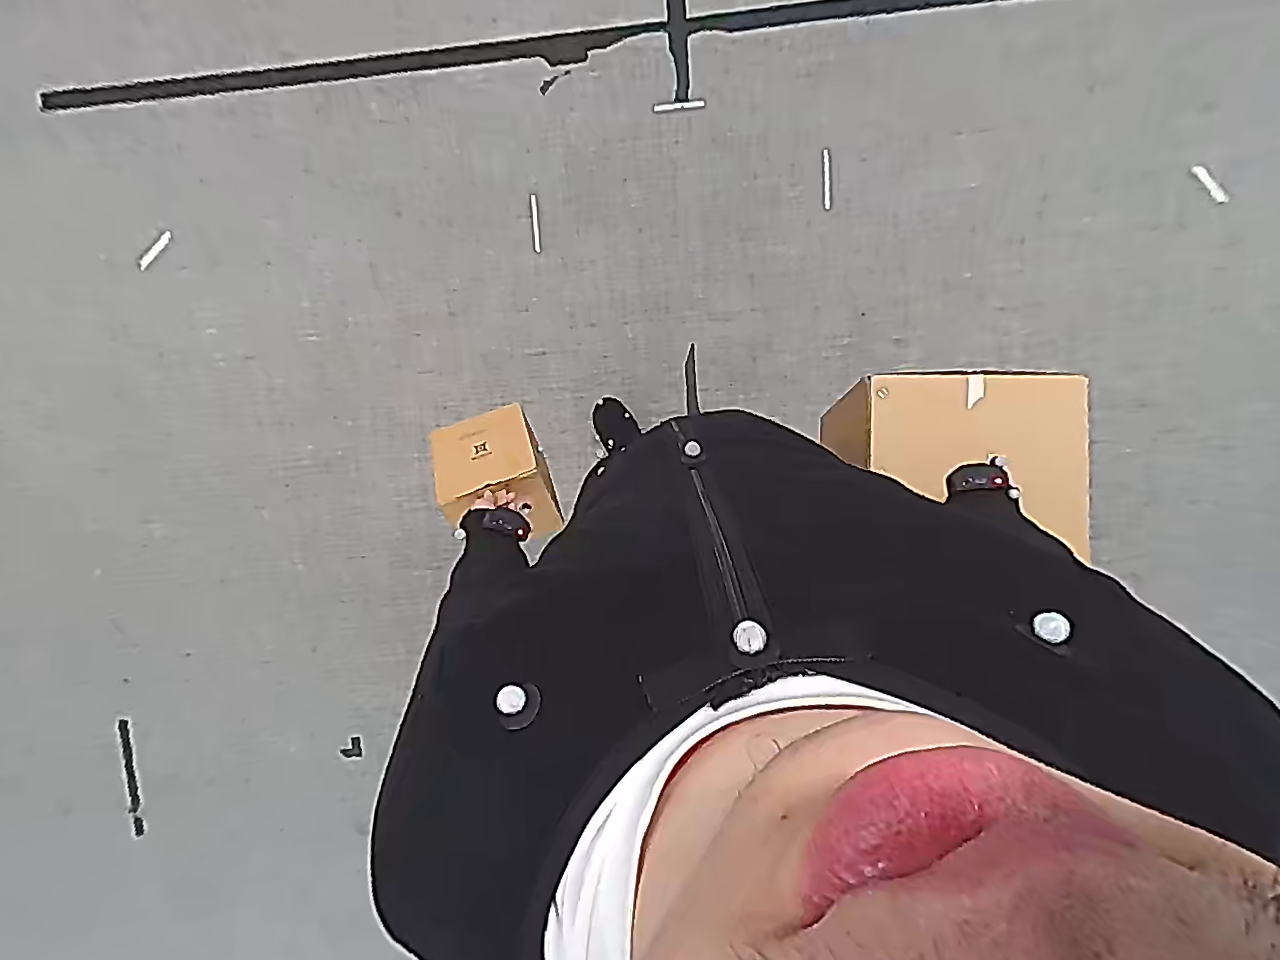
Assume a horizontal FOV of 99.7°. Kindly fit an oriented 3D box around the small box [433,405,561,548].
[{"bbox_3d":[-0.253,0.001,0.973,0.168,0.179,0.176,-20,139,-5],"label":"small box"}]
